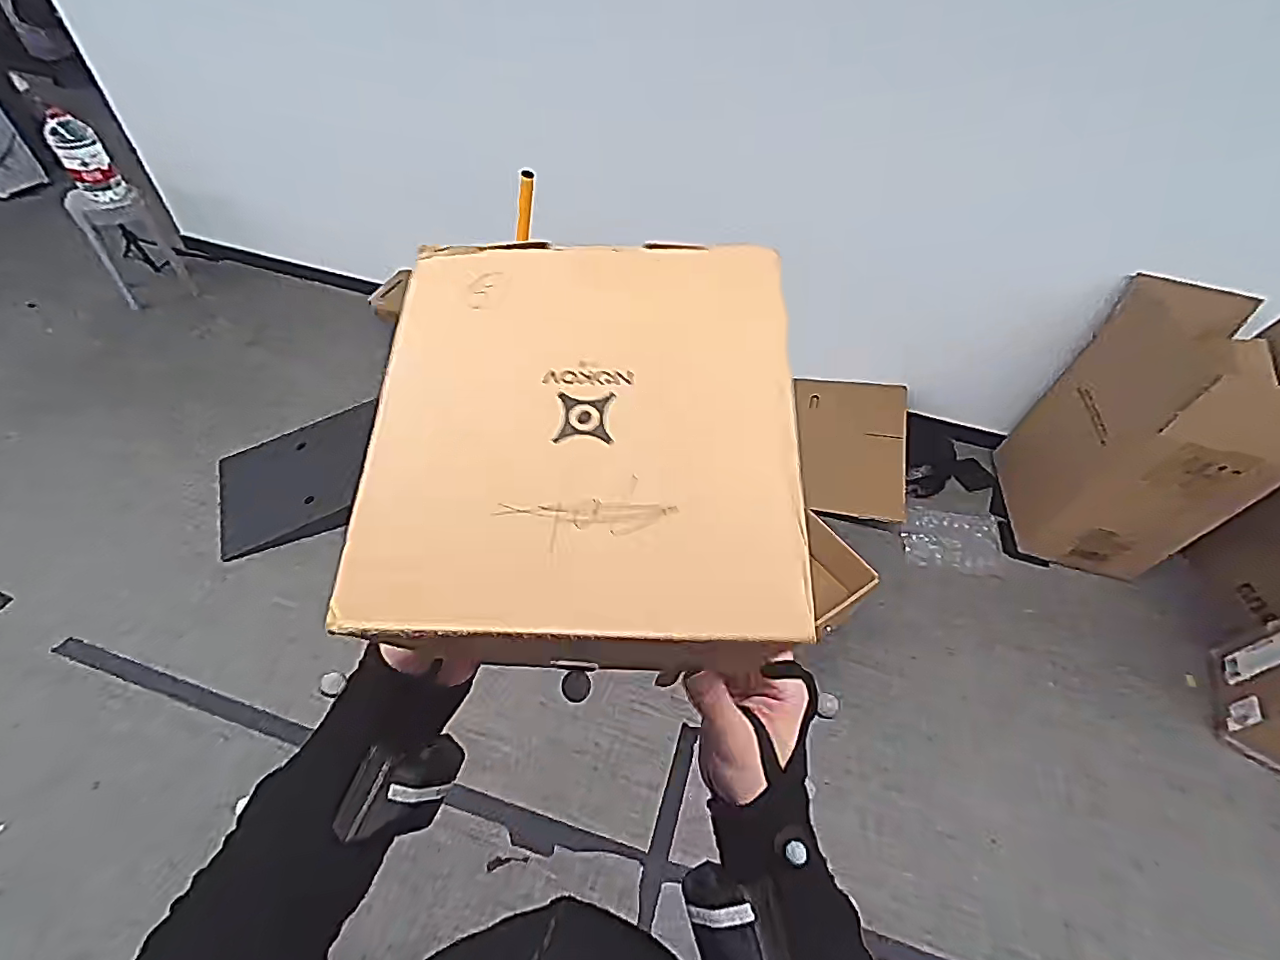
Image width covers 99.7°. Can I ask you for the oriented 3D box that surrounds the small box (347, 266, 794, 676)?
[{"bbox_3d":[-0.023,0.010,0.301,0.168,0.176,0.179,-1,67,2],"label":"small box"}]
